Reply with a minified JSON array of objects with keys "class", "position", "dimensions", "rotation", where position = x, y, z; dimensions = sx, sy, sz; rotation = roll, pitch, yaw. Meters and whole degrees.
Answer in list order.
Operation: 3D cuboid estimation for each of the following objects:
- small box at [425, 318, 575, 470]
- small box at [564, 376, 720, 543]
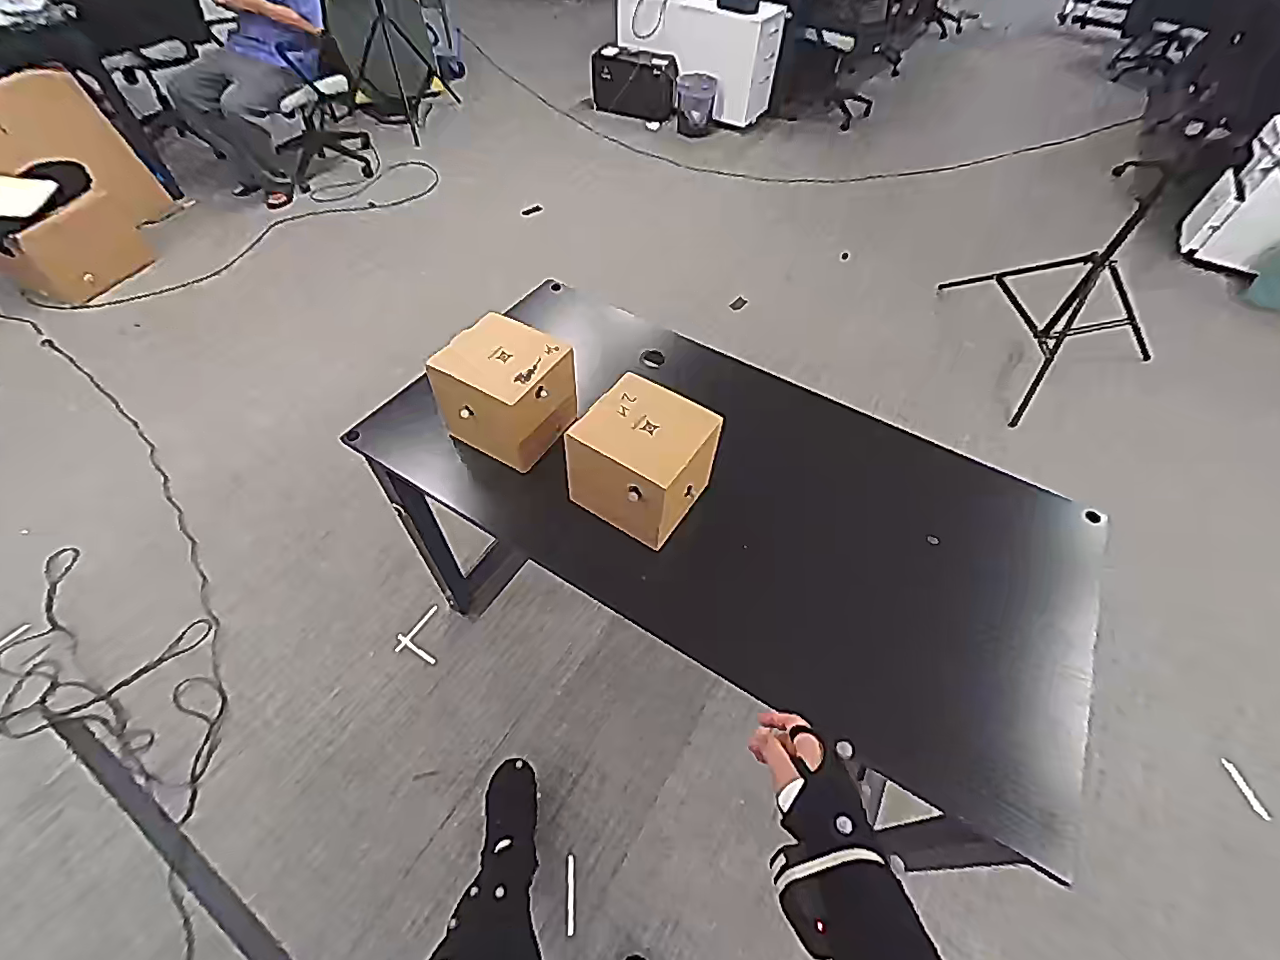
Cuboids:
[{"class":"small box","position":[-0.230,-0.145,0.933],"dimensions":[0.179,0.176,0.168],"rotation":[25,56,16]},{"class":"small box","position":[0.001,-0.025,0.853],"dimensions":[0.179,0.176,0.168],"rotation":[28,56,17]}]
